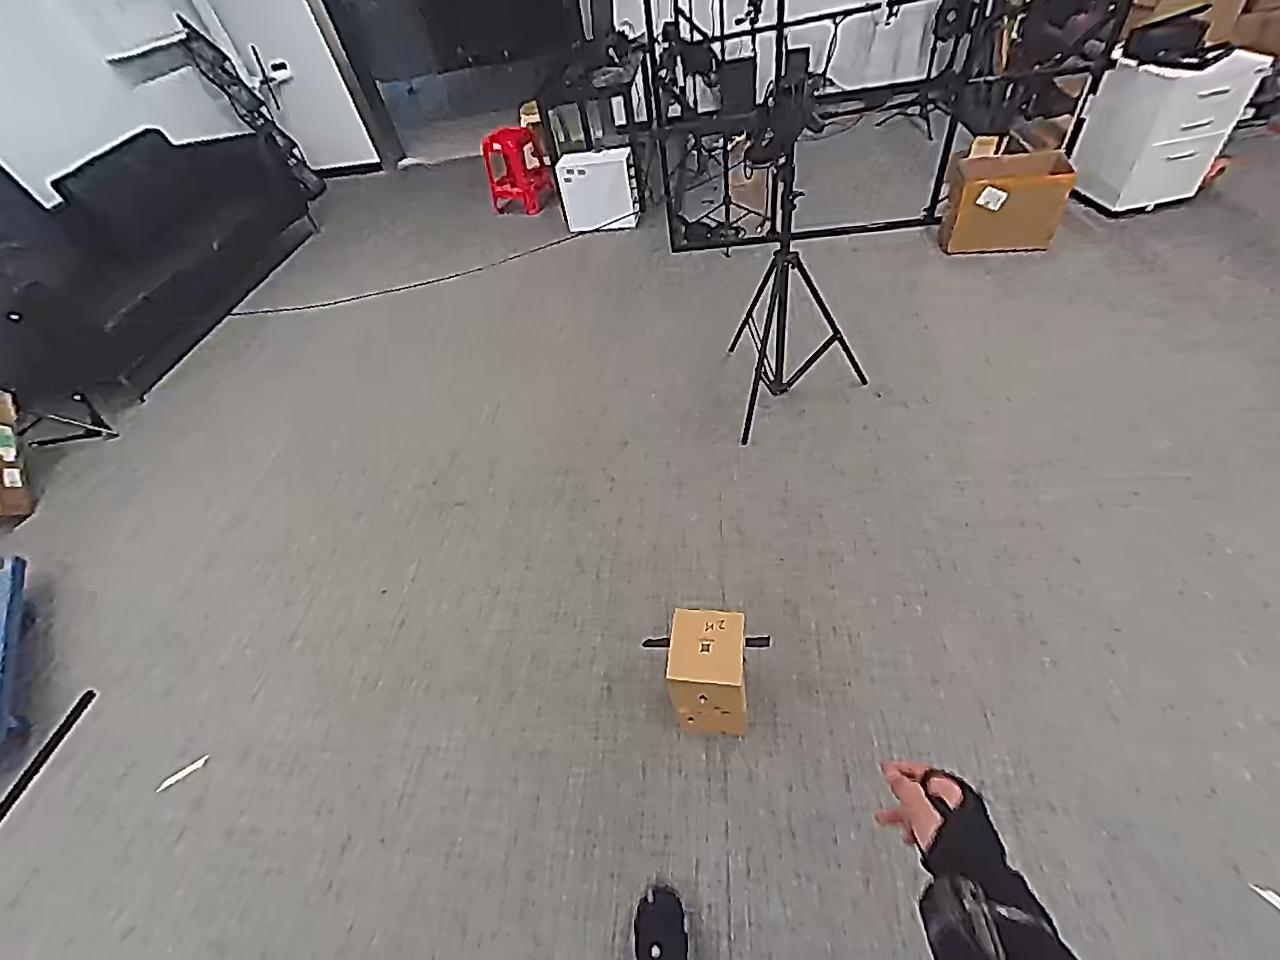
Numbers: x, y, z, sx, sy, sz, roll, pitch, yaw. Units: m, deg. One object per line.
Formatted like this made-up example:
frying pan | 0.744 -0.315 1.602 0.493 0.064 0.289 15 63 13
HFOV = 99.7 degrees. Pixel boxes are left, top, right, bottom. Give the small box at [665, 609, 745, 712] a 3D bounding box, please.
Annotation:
small box | 0.159 0.425 1.270 0.168 0.176 0.179 1 48 12
